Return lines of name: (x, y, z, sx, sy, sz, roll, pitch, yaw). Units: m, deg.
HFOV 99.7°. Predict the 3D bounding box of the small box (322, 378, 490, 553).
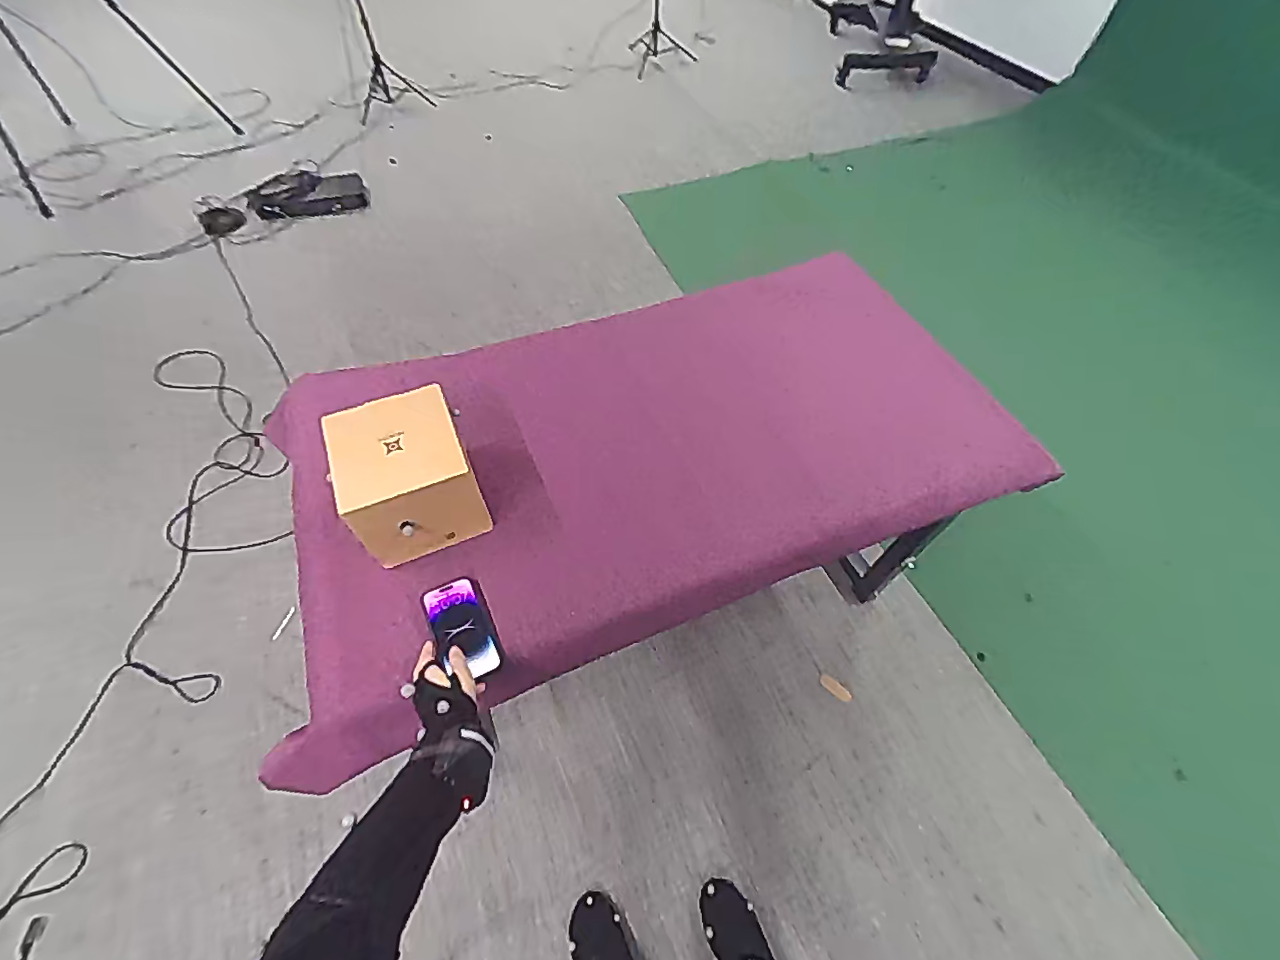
small box: (-0.334, -0.013, 0.792, 0.168, 0.176, 0.179, -20, 59, -15)
